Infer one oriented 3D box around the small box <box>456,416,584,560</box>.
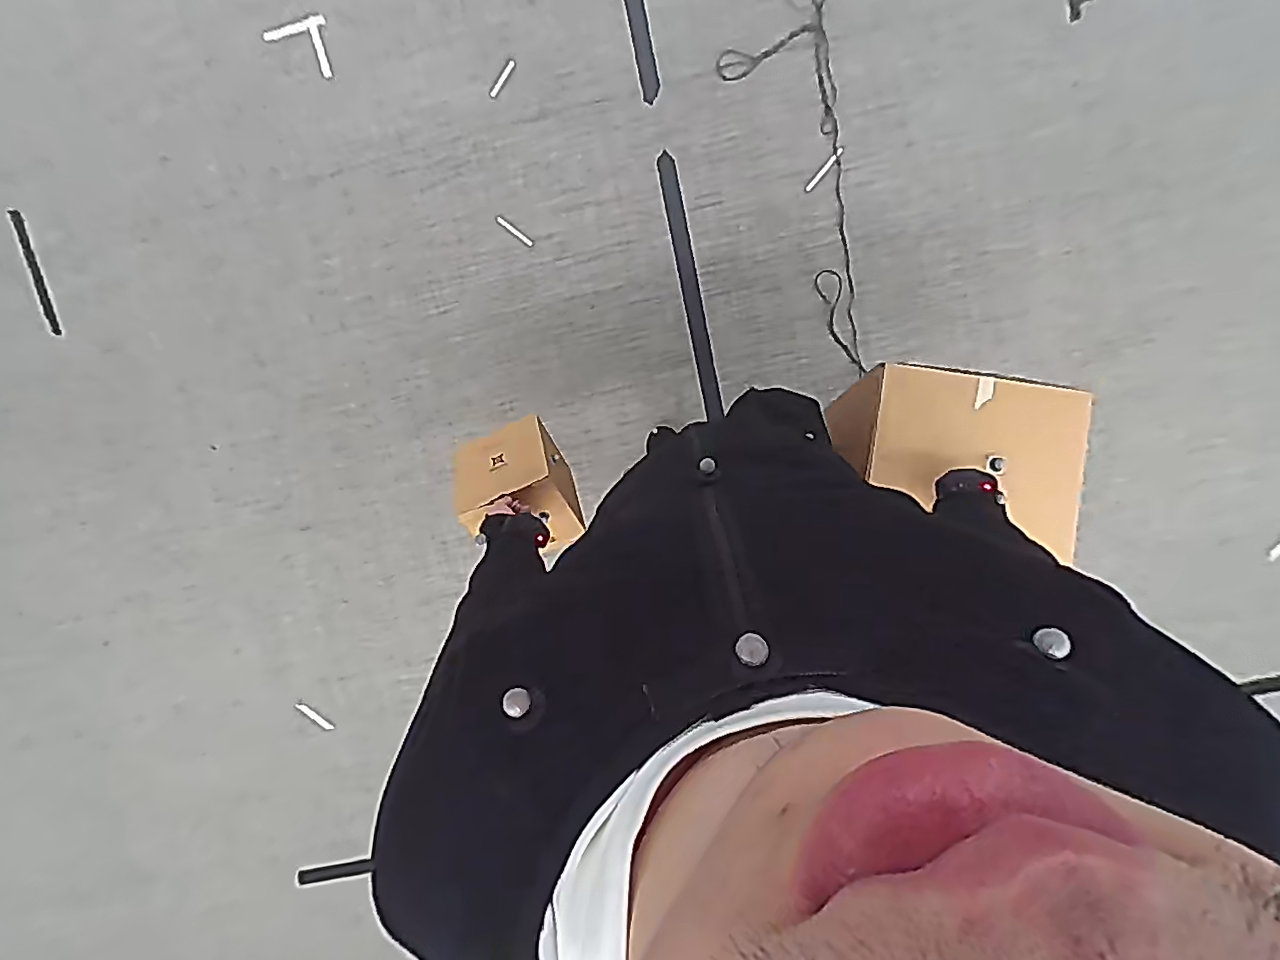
[{"bbox_3d":[-0.214,0.023,0.976,0.168,0.179,0.176,-23,136,1],"label":"small box"}]
